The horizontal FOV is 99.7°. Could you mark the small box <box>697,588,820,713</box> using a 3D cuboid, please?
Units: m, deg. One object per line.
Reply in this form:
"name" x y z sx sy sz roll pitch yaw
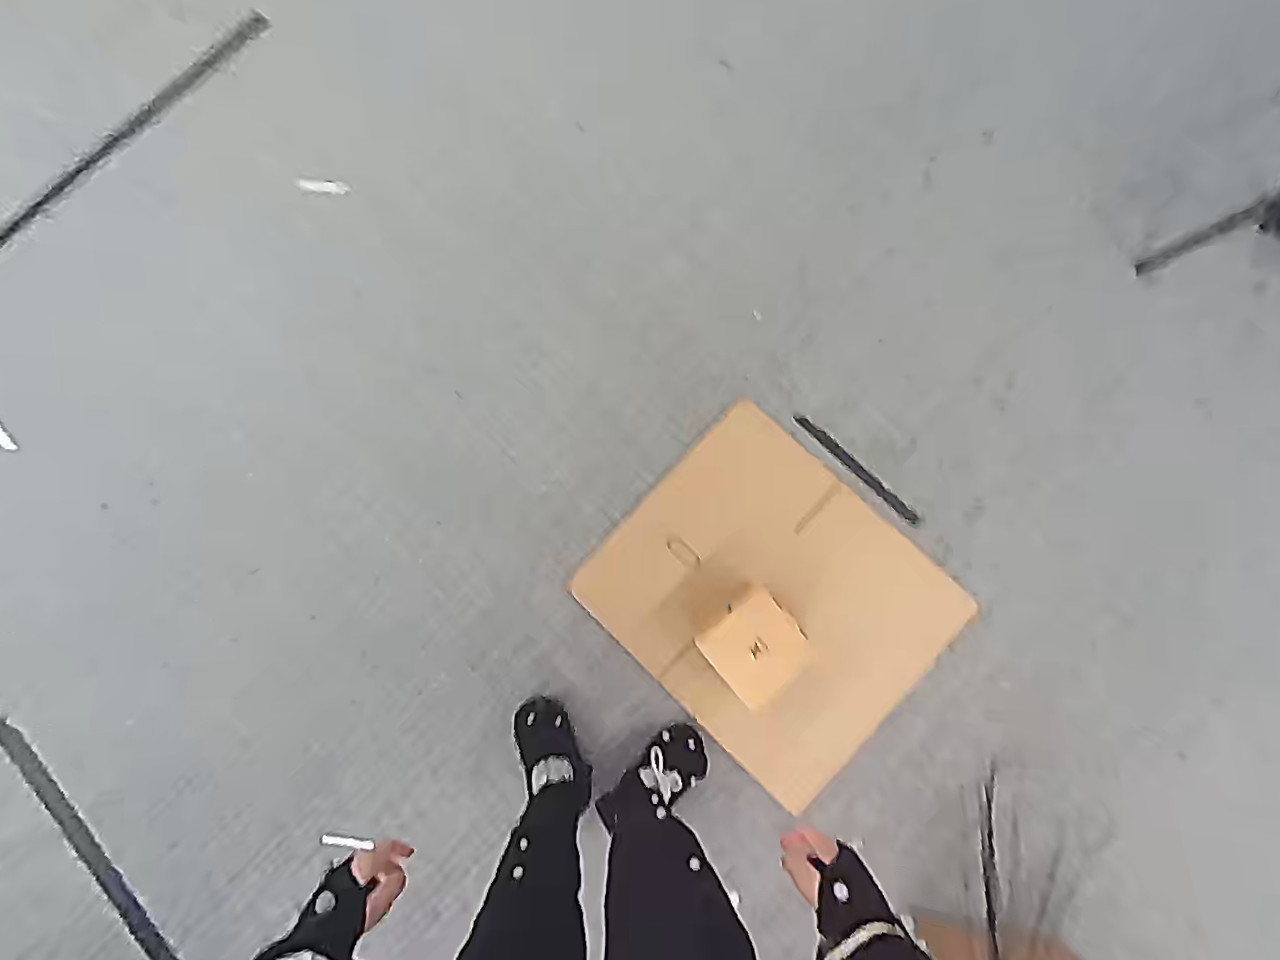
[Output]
"small box" 0.235 0.339 1.109 0.179 0.176 0.168 -41 79 -3
